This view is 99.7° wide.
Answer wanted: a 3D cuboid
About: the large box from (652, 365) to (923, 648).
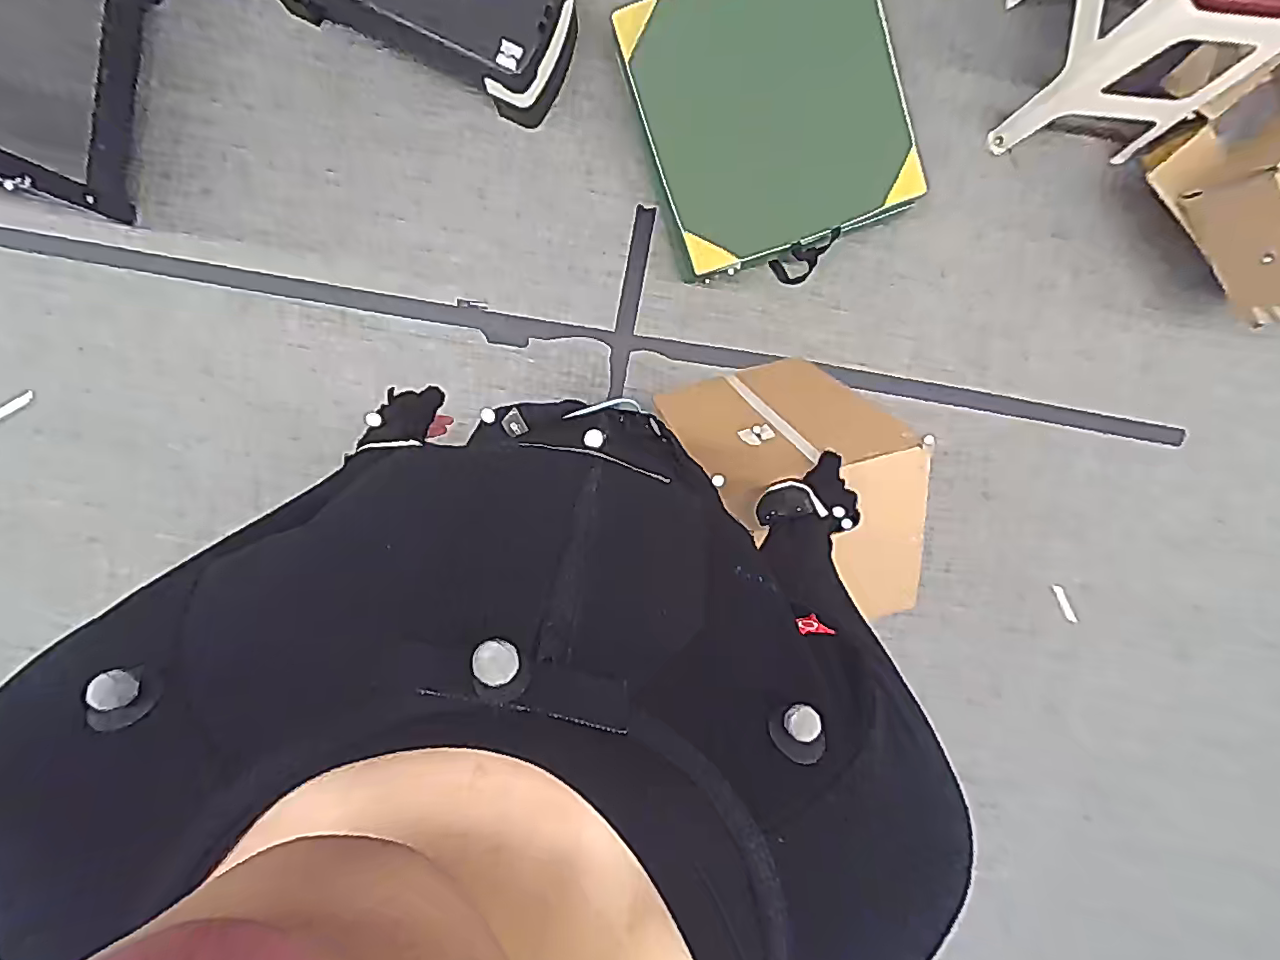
[{"bbox_3d":[0.234,0.023,0.988,0.320,0.408,0.320,-15,122,-5],"label":"large box"}]
